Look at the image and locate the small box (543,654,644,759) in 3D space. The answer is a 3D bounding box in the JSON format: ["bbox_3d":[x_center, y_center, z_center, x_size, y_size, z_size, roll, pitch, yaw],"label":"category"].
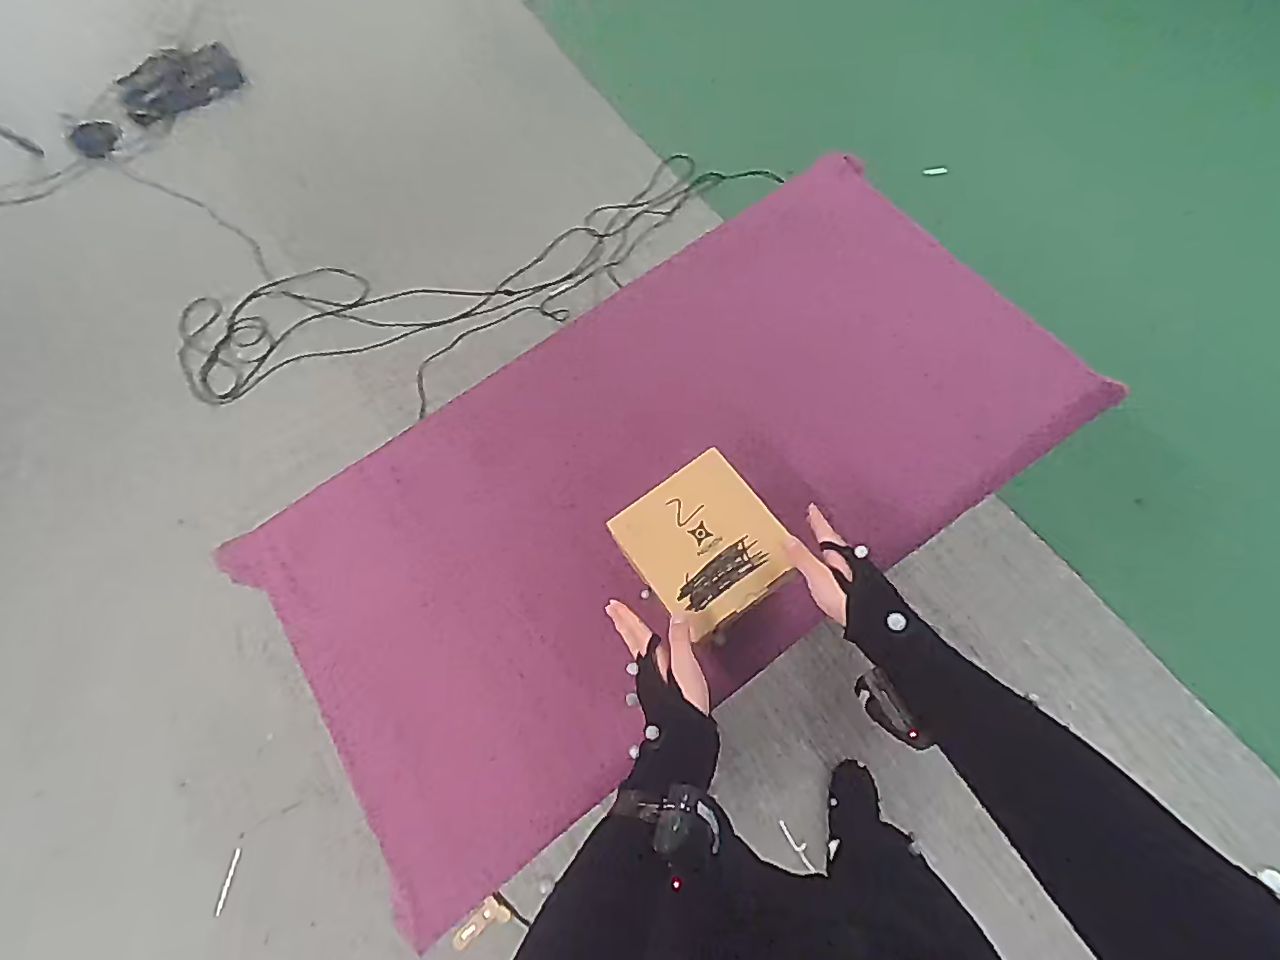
[{"bbox_3d":[-0.106,0.552,1.332,0.179,0.176,0.168,-36,71,-7],"label":"small box"}]

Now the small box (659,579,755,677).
[{"bbox_3d":[0.165,0.375,1.365,0.179,0.176,0.168,-35,71,-6],"label":"small box"}]

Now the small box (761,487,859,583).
[{"bbox_3d":[0.433,0.151,1.415,0.179,0.176,0.168,-33,71,-6],"label":"small box"}]
